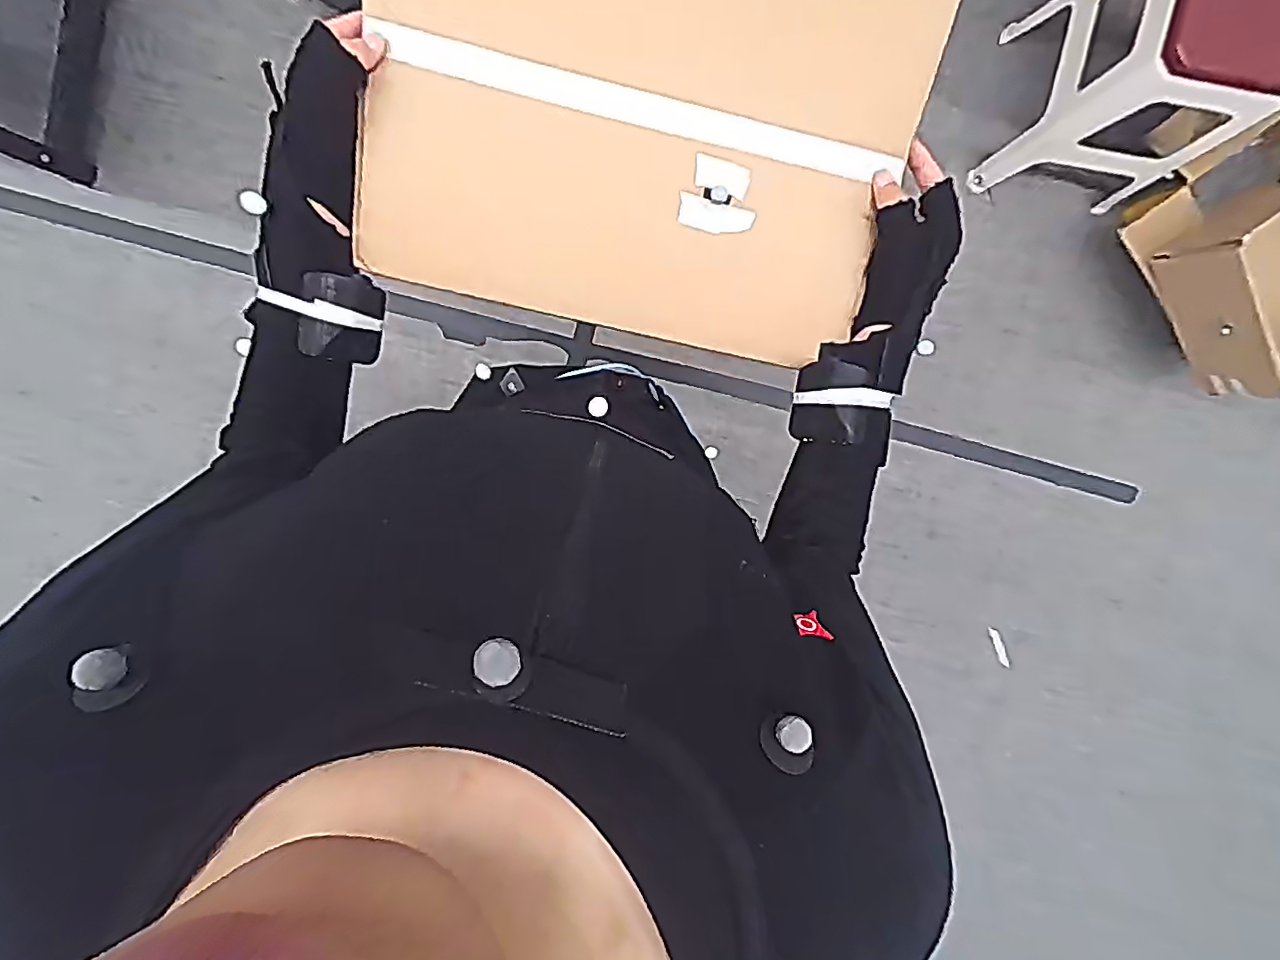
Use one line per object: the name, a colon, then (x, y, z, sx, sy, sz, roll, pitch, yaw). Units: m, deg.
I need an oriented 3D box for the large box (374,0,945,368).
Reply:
large box: (-0.003, -0.320, 0.555, 0.408, 0.320, 0.320, 11, 108, -7)
